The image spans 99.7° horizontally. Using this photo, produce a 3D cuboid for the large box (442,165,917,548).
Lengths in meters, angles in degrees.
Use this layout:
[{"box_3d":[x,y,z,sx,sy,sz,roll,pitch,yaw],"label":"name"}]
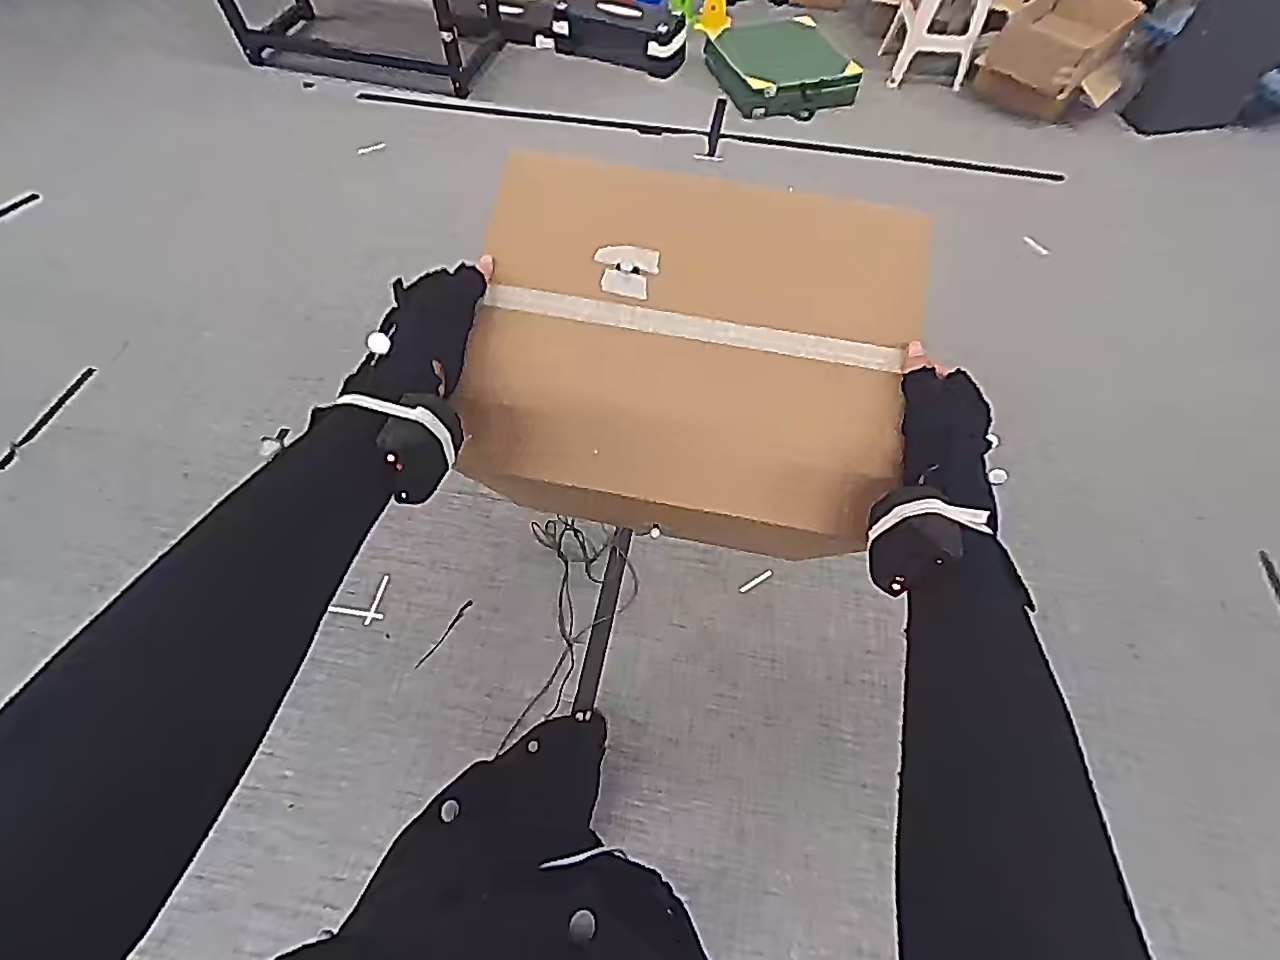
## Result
[{"box_3d":[0.049,-0.108,0.645,0.408,0.320,0.320,11,79,4],"label":"large box"}]
